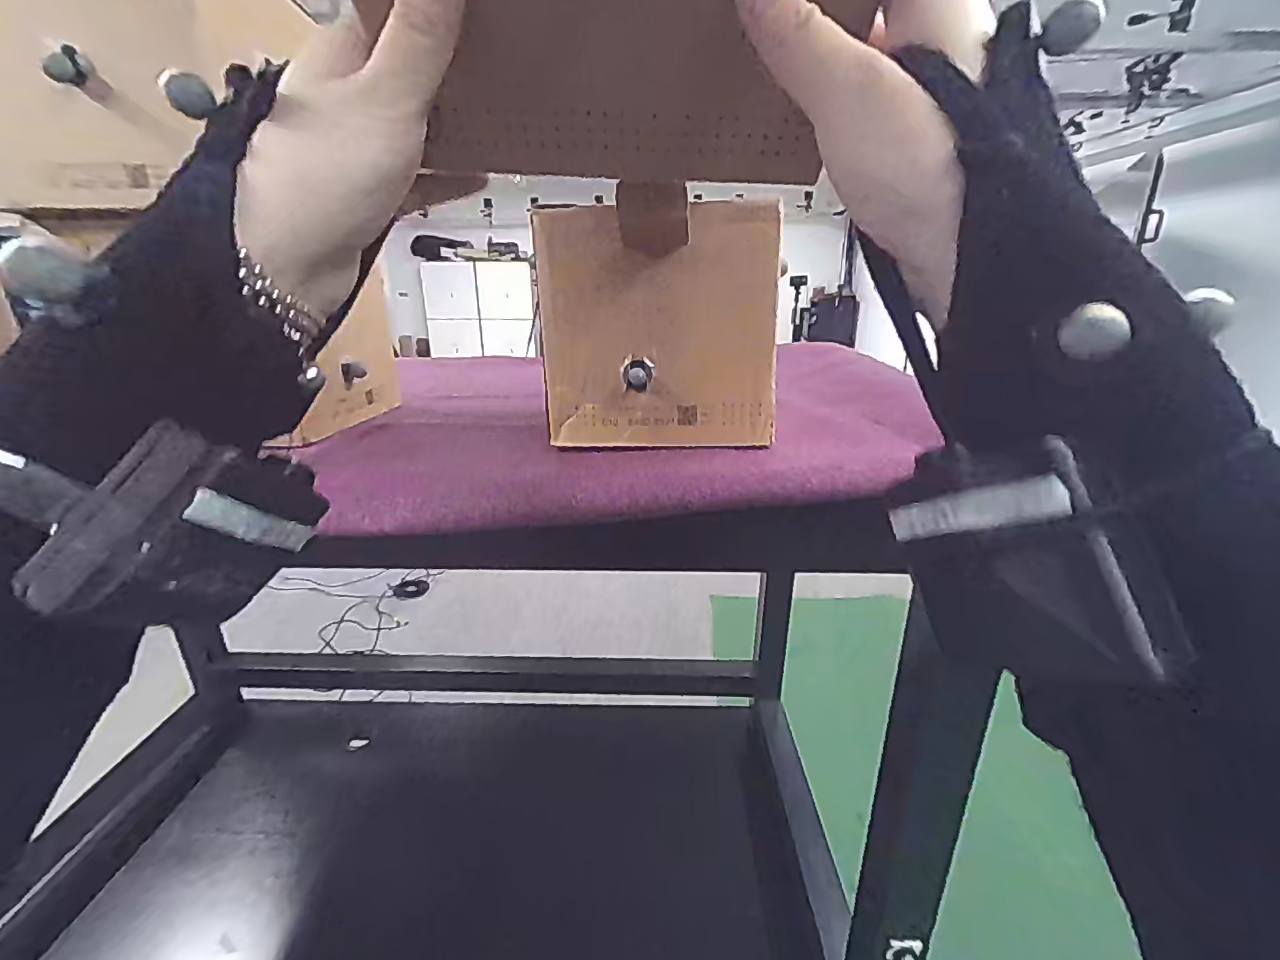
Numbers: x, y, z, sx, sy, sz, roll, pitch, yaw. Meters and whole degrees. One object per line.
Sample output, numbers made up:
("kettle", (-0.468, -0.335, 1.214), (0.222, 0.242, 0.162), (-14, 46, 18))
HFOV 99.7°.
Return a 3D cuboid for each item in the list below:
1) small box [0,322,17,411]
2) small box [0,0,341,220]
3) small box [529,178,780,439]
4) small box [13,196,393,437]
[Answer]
("small box", (-0.693, -0.121, 0.444), (0.168, 0.176, 0.179), (-2, 22, -1))
("small box", (-0.352, -0.287, 0.402), (0.168, 0.176, 0.179), (-1, 20, -2))
("small box", (0.016, -0.136, 0.448), (0.168, 0.176, 0.179), (-1, 19, 5))
("small box", (-0.344, -0.136, 0.467), (0.179, 0.176, 0.168), (1, 19, 2))
